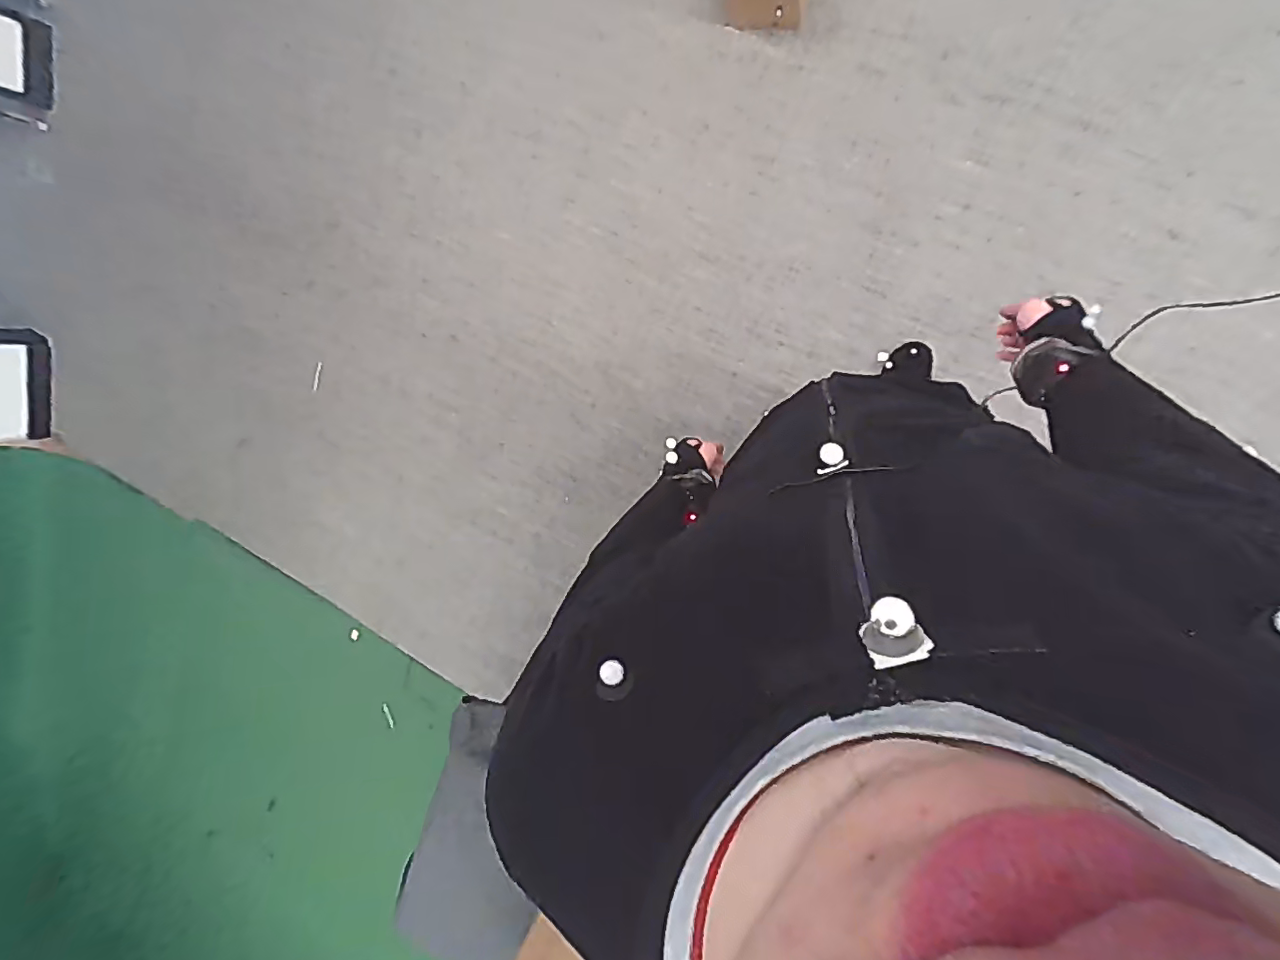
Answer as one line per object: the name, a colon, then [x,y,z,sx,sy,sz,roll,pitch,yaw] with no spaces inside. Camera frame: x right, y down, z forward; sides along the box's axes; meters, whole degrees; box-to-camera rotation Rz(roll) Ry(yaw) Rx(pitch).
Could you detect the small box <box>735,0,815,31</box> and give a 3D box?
small box: [0.312,-1.143,1.203,0.168,0.176,0.179,14,106,15]
